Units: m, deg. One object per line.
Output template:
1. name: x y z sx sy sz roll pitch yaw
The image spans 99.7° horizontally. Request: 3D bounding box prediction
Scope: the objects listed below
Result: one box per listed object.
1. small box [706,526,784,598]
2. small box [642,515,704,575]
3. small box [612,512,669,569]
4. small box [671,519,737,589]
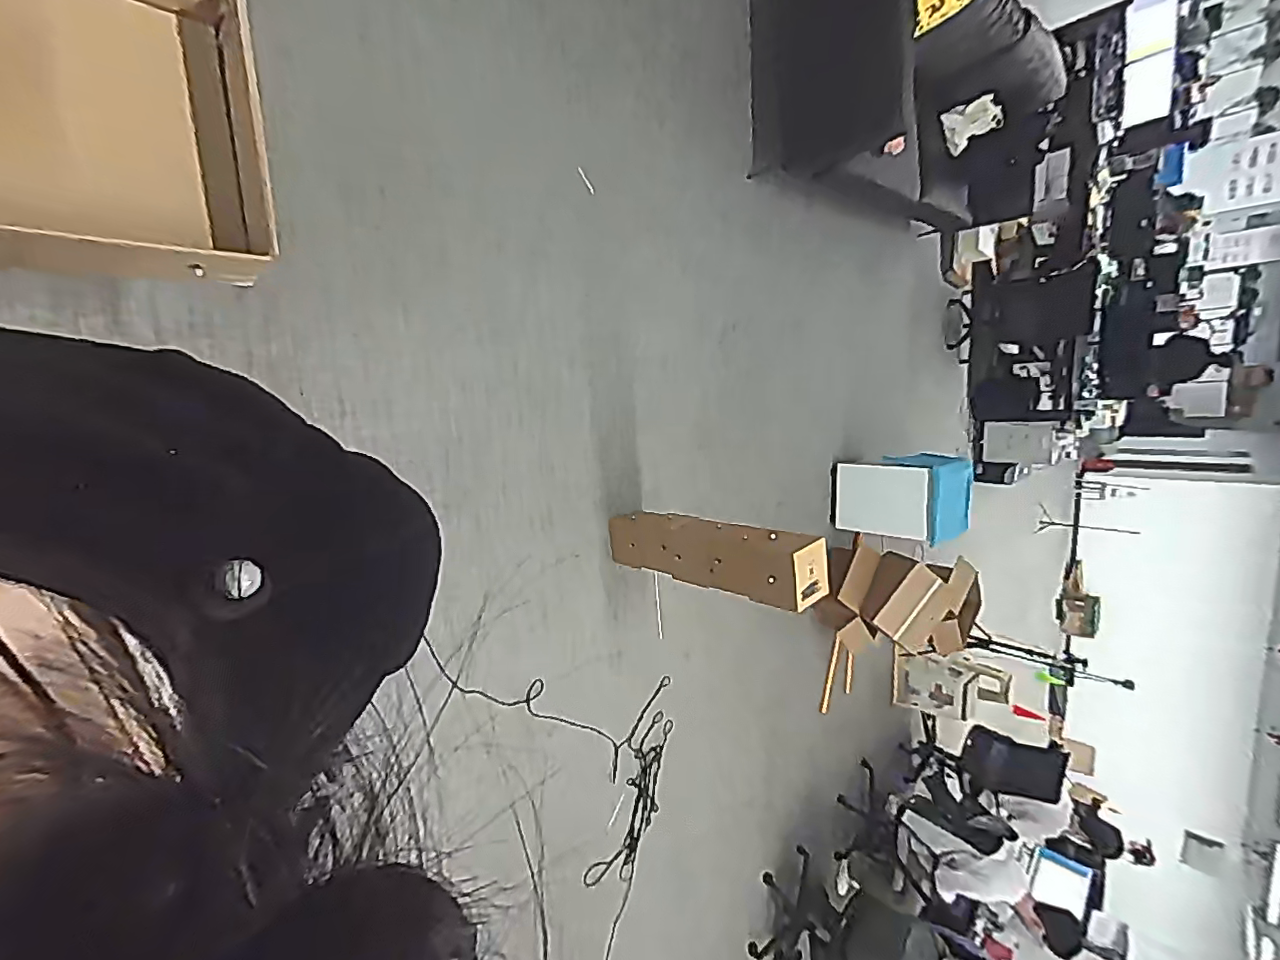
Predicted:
1. small box: 0.329 0.248 1.693 0.179 0.176 0.168 -15 103 -40
2. small box: 0.120 0.225 1.942 0.168 0.176 0.179 -12 102 -41
3. small box: 0.008 0.224 2.062 0.168 0.176 0.179 -13 103 -42
4. small box: 0.221 0.242 1.814 0.168 0.176 0.179 -15 105 -41
